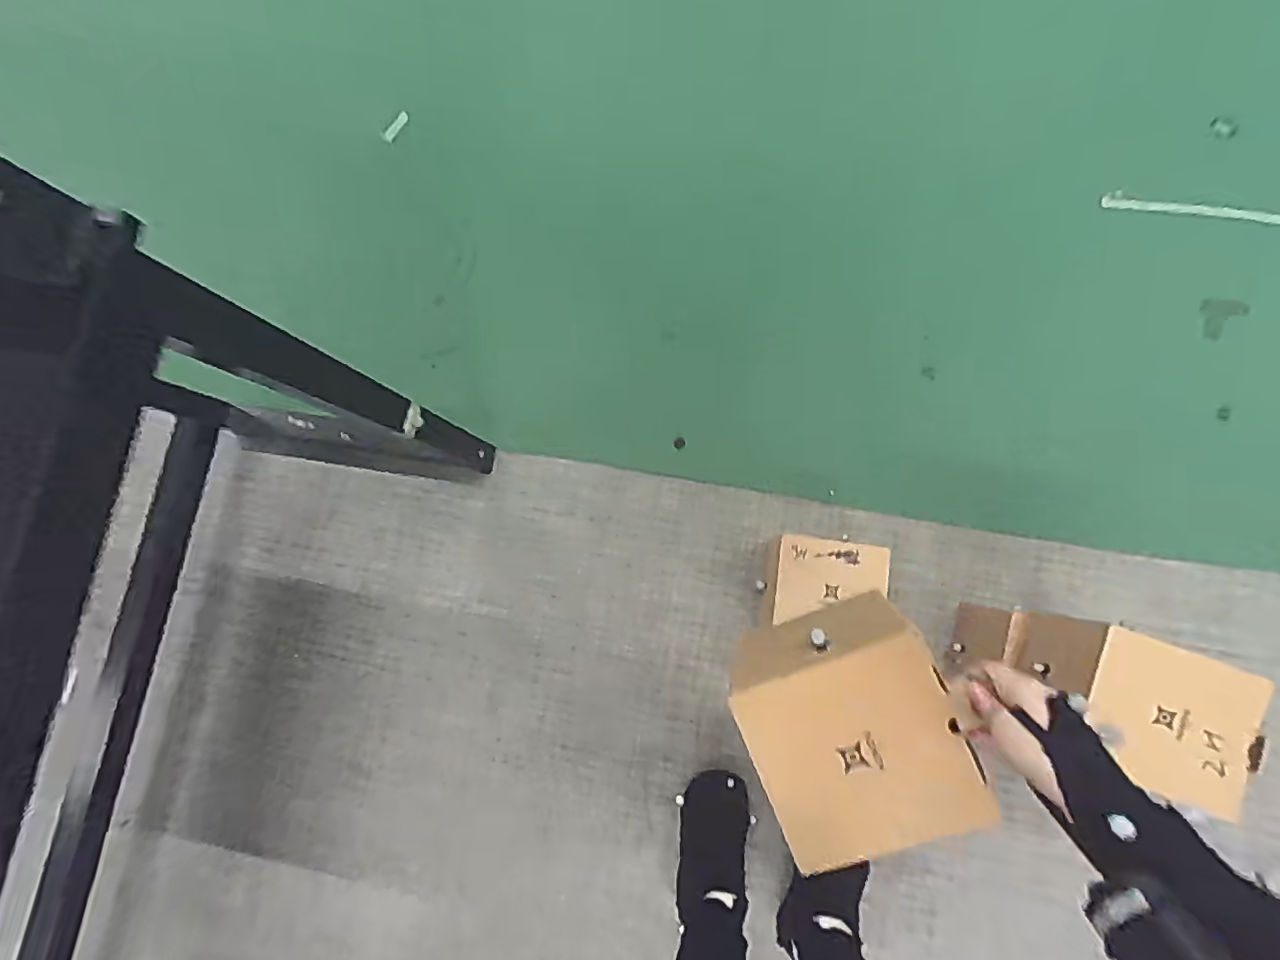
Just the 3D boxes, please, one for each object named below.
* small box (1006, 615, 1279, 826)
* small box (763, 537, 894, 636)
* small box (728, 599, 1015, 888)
[{"bbox_3d":[0.605,0.278,0.675,0.179,0.176,0.168,20,85,9],"label":"small box"},{"bbox_3d":[0.300,0.195,0.890,0.168,0.176,0.179,7,81,8],"label":"small box"},{"bbox_3d":[0.198,0.231,0.516,0.179,0.176,0.168,-24,85,10],"label":"small box"}]
